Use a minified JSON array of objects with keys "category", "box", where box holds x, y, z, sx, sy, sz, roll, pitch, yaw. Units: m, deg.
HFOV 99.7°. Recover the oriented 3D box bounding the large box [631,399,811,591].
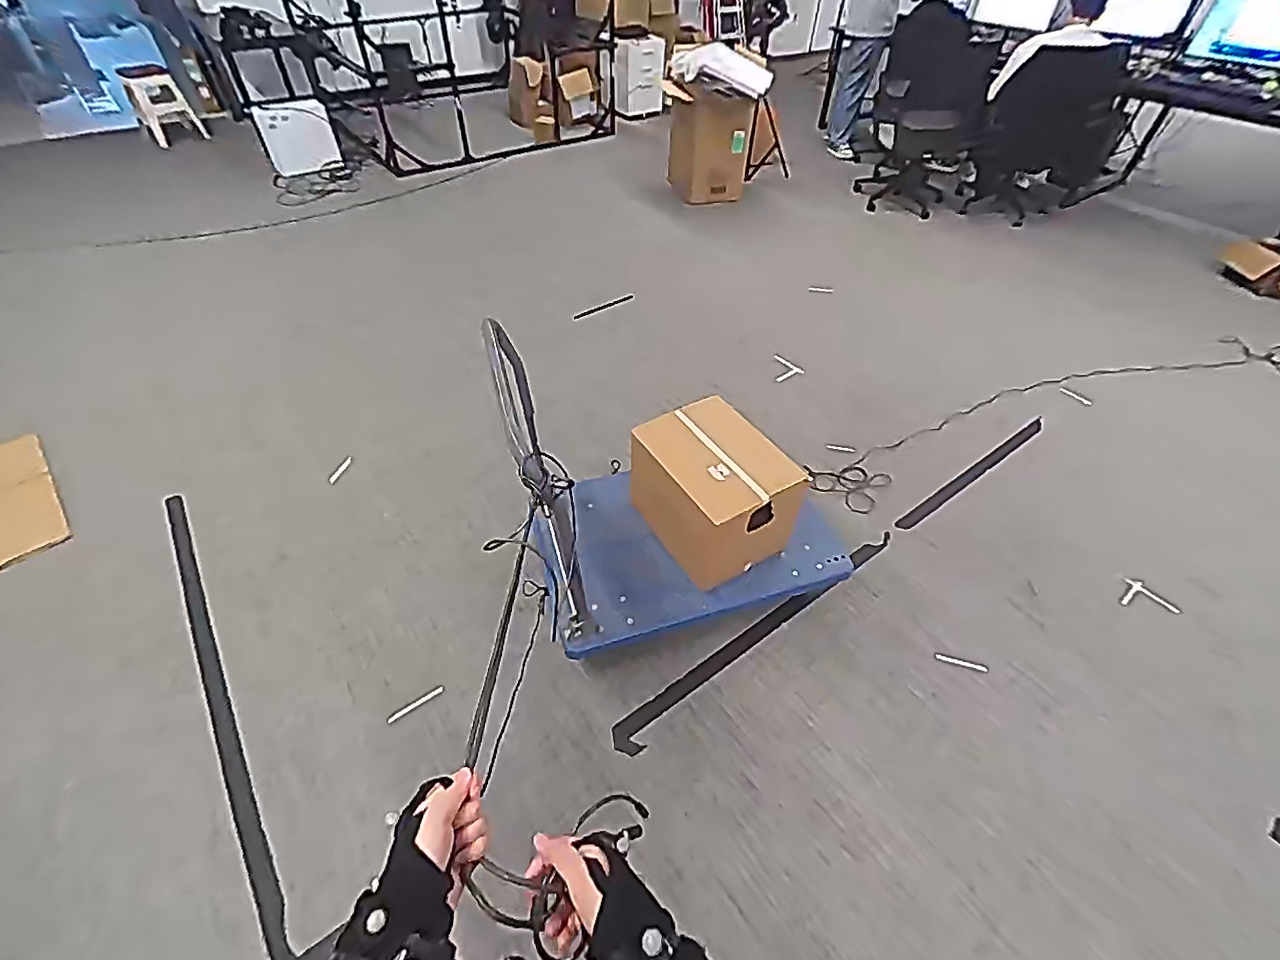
[{"category":"large box","box":[0.207,0.035,1.568,0.320,0.320,0.408,-24,53,-21]}]
